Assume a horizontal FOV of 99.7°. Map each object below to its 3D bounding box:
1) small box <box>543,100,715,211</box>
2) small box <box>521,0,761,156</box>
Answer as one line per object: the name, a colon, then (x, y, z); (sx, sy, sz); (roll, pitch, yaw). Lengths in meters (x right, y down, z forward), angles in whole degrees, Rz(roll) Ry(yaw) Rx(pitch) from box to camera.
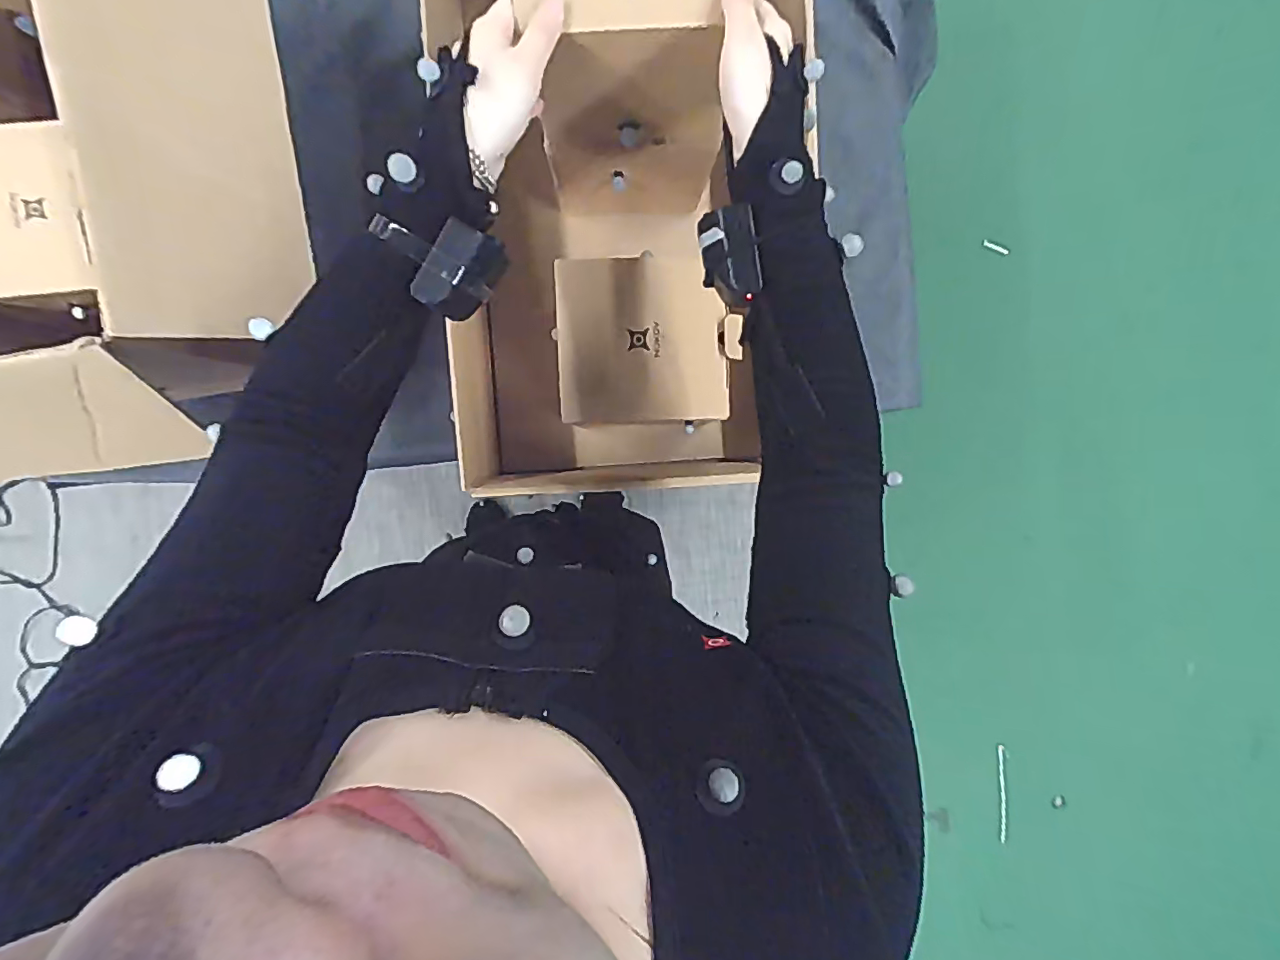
small box: (-0.009, -0.416, 0.603); (0.179, 0.176, 0.168); (-2, 97, -1)
small box: (-0.004, -0.396, 0.438); (0.168, 0.176, 0.179); (-3, 97, -1)
